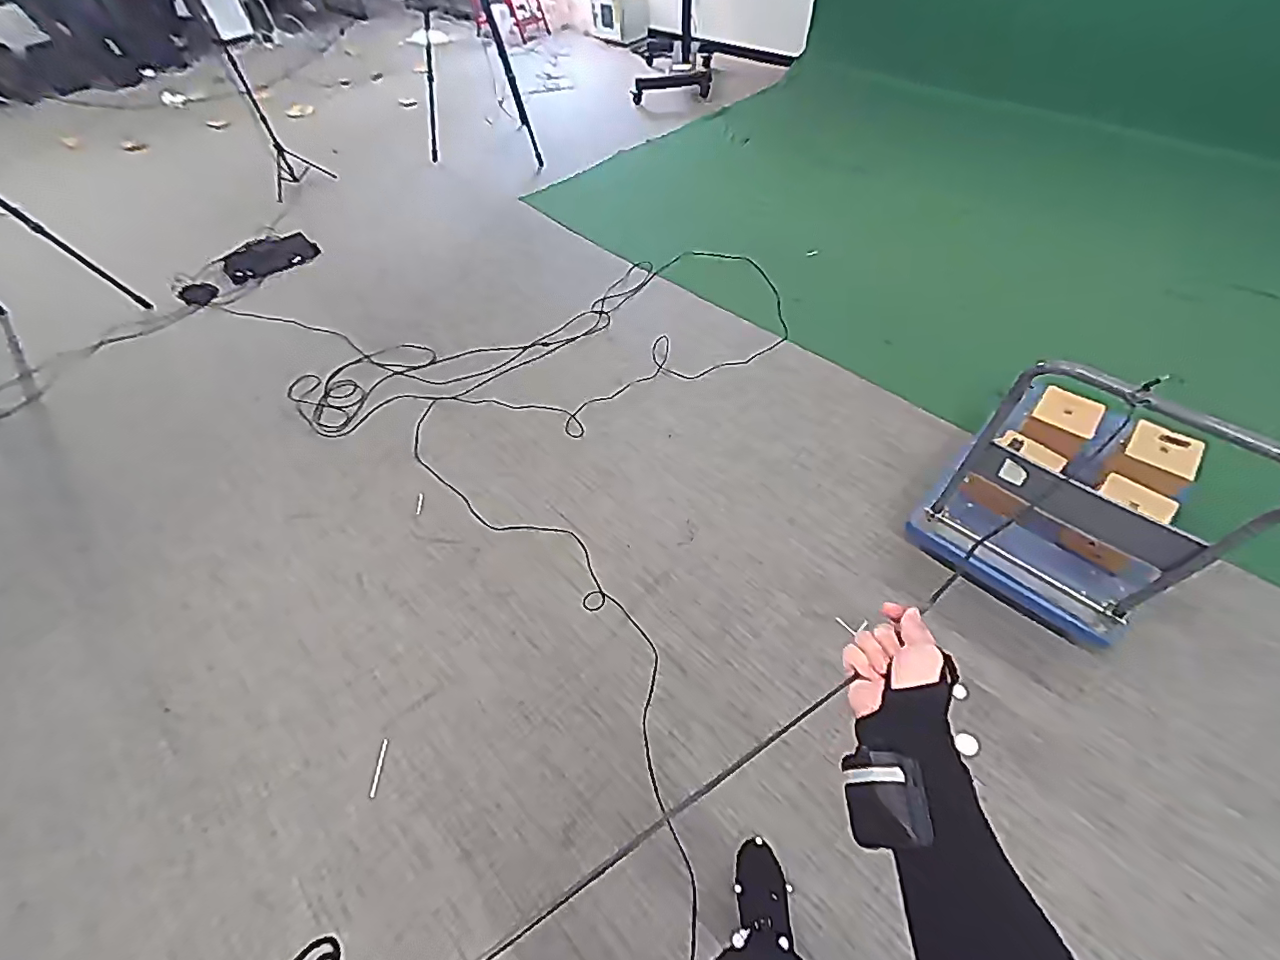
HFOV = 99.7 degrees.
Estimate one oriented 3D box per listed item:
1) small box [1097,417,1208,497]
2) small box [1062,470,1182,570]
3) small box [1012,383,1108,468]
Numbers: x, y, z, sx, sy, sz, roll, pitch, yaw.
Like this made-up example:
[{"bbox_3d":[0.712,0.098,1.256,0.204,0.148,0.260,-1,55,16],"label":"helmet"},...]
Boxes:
[{"bbox_3d":[1.515,-0.048,1.607,0.168,0.176,0.179,32,62,27],"label":"small box"},{"bbox_3d":[1.326,0.114,1.500,0.179,0.176,0.168,-40,60,-22],"label":"small box"},{"bbox_3d":[1.323,-0.169,1.717,0.168,0.176,0.179,33,62,25],"label":"small box"}]
